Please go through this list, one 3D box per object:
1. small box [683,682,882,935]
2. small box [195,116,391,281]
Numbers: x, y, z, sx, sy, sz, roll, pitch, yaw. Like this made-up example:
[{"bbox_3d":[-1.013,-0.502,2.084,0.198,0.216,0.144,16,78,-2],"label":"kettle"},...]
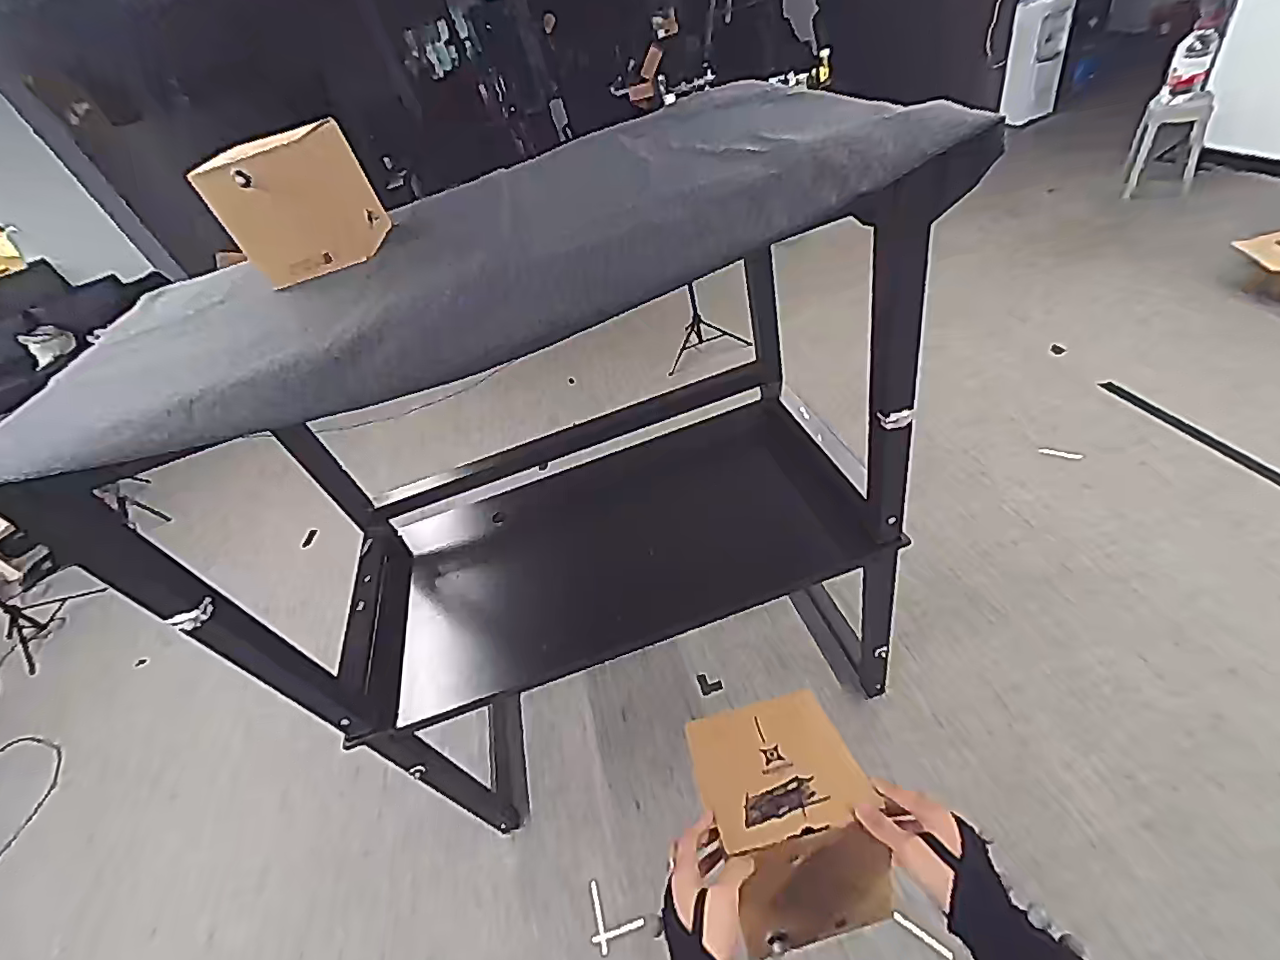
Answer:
[{"bbox_3d":[0.160,0.375,0.623,0.168,0.176,0.179,-13,20,-5],"label":"small box"},{"bbox_3d":[-0.513,-0.433,0.836,0.168,0.176,0.179,-17,42,3],"label":"small box"}]
